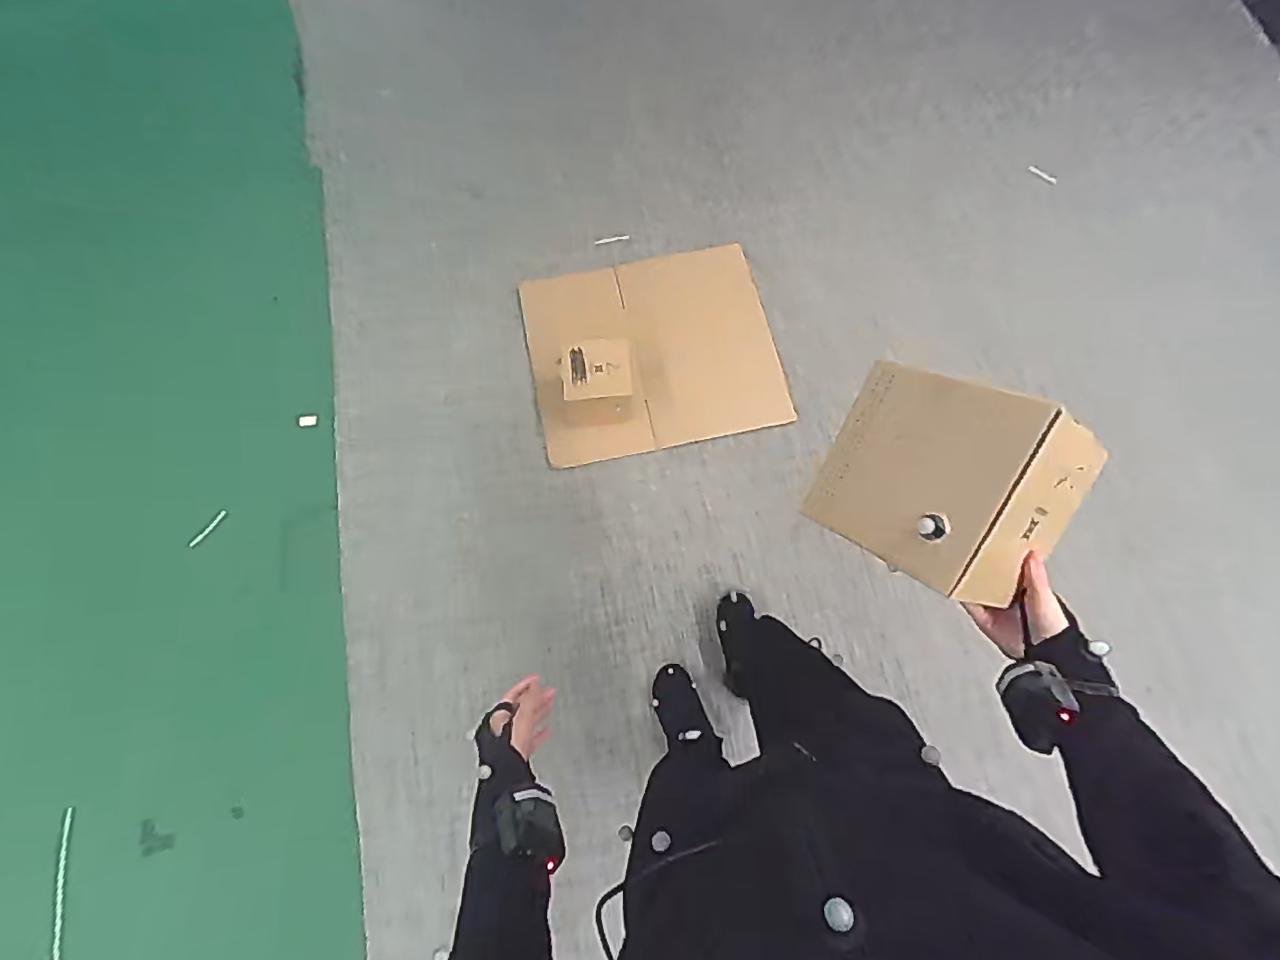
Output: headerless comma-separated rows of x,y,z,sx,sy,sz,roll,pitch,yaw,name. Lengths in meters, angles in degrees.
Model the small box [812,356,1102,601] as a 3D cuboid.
0.304,-0.003,0.544,0.176,0.168,0.179,36,105,50,small box
